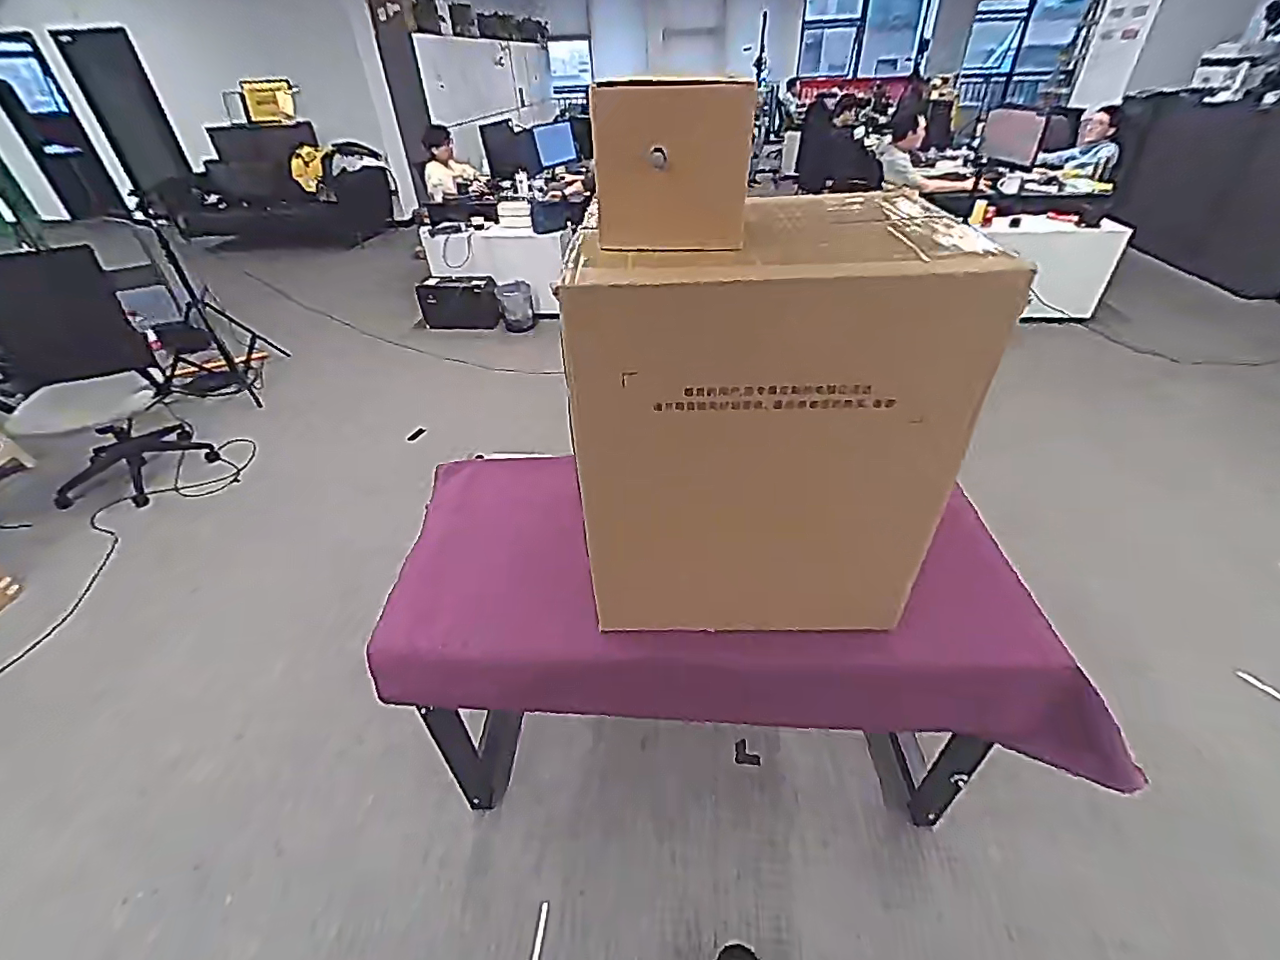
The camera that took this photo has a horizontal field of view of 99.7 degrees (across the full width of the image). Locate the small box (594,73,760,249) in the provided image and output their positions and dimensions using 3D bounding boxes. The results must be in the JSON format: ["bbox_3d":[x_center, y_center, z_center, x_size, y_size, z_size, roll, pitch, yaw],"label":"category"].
[{"bbox_3d":[0.046,-0.393,0.668,0.179,0.176,0.168,1,39,4],"label":"small box"}]
